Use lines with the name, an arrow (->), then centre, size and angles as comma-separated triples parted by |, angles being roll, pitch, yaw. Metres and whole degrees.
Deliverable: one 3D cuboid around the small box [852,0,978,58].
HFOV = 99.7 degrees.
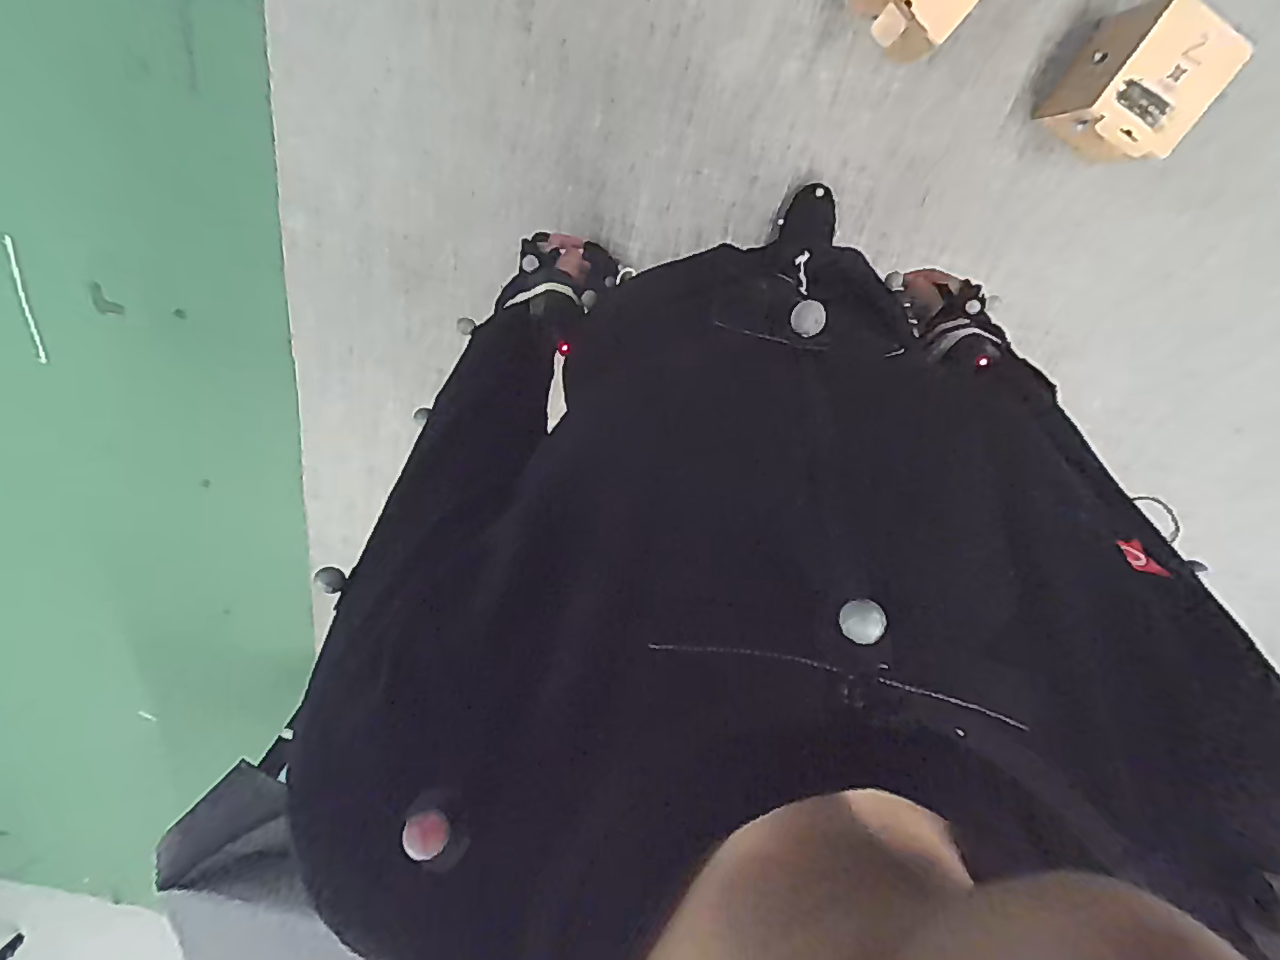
small box -> 0.471, -0.832, 0.867 | 0.168, 0.176, 0.179 | 36, 116, -16
